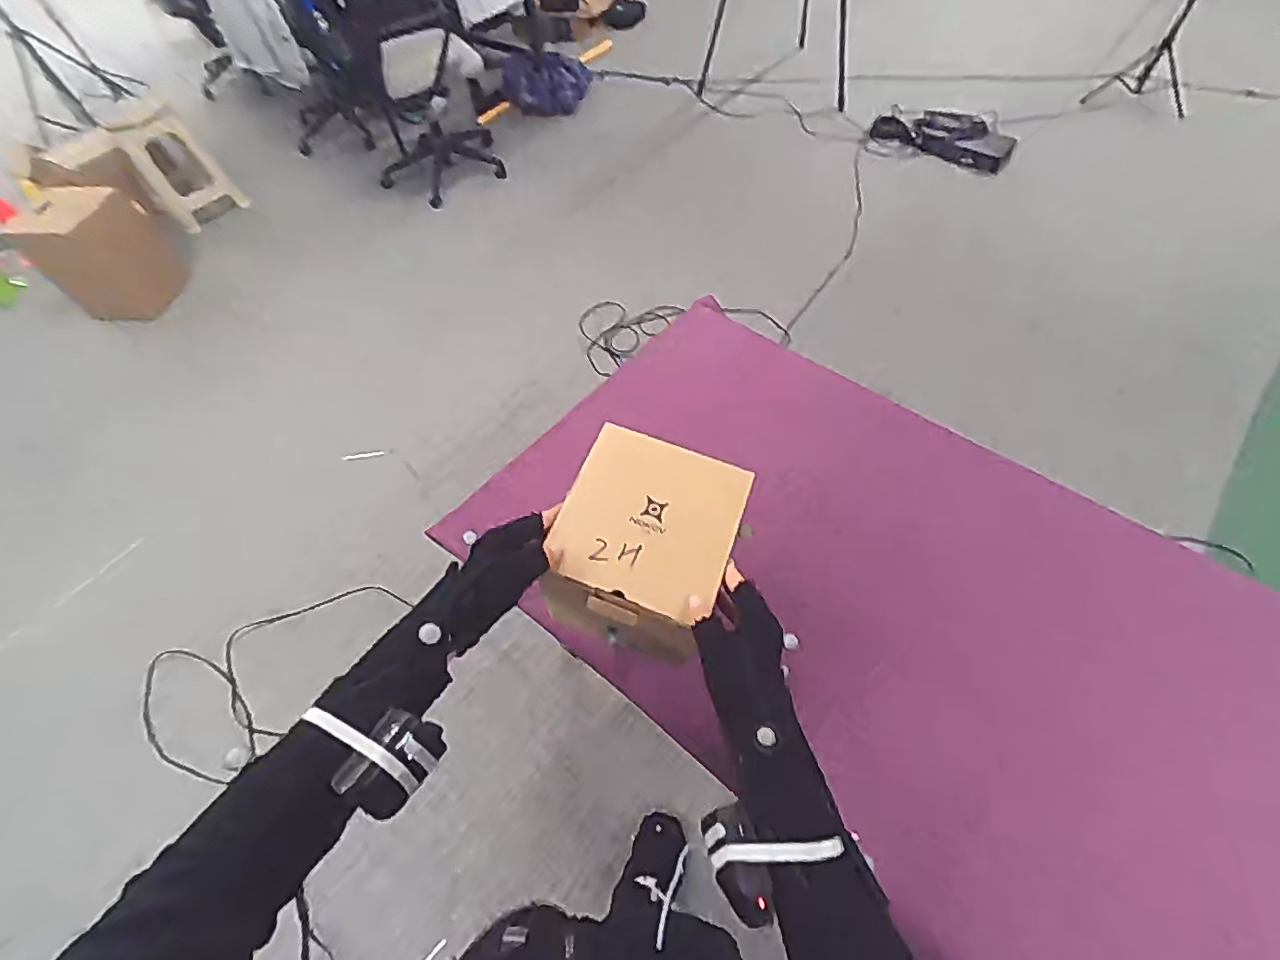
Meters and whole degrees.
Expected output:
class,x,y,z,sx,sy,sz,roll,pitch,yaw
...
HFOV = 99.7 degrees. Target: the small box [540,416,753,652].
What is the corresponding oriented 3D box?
class,x,y,z,sx,sy,sz,roll,pitch,yaw
small box,0.007,0.066,0.596,0.168,0.176,0.179,20,62,8
